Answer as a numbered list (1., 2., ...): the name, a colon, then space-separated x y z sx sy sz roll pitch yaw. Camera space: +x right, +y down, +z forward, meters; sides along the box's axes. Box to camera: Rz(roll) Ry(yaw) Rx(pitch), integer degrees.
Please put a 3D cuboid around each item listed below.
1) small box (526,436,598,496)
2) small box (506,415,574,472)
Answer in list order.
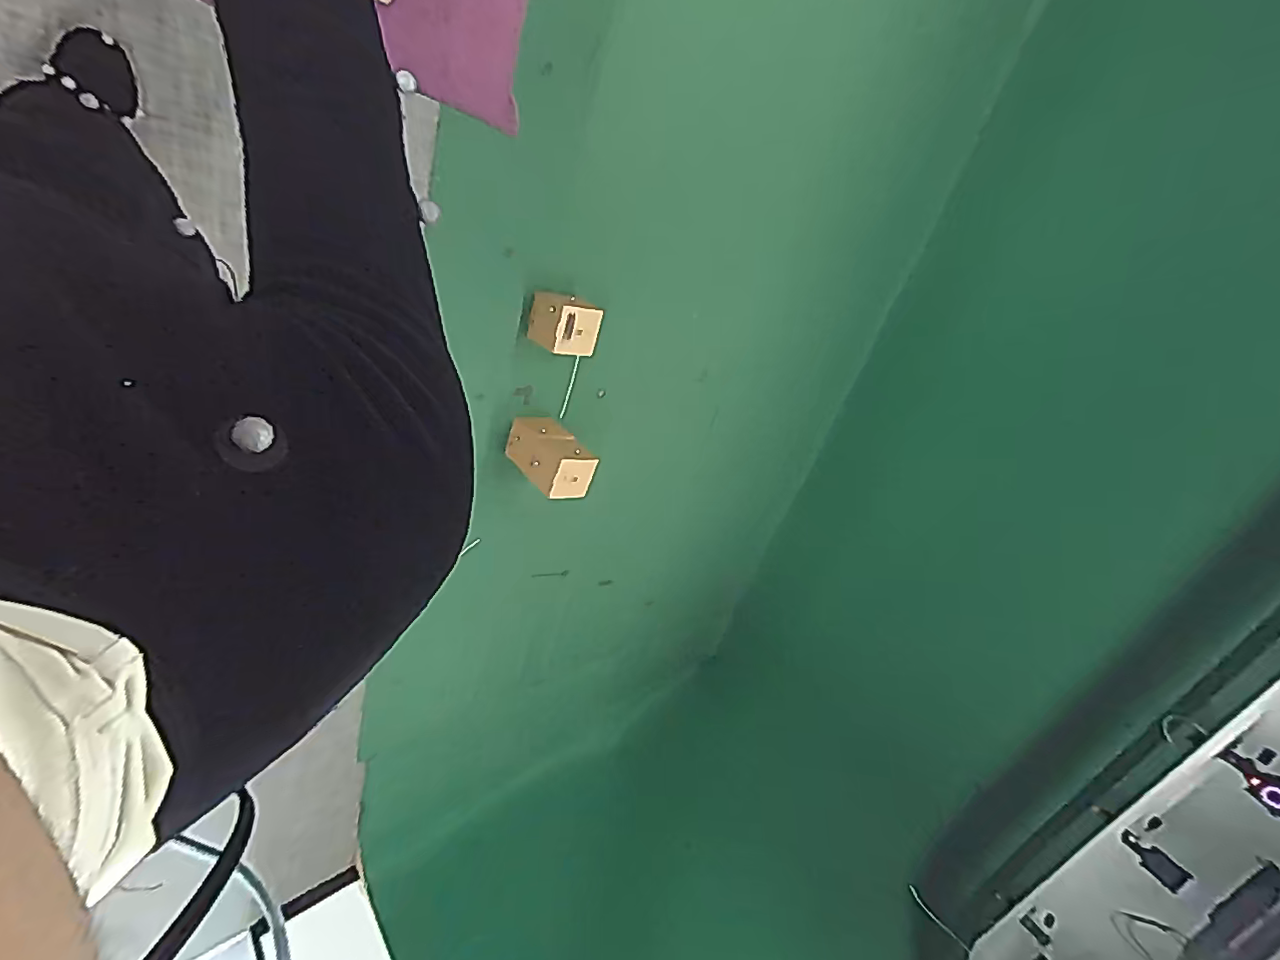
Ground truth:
1. small box: -0.293 -0.055 2.014 0.179 0.176 0.168 -1 122 -47
2. small box: -0.393 -0.144 2.109 0.179 0.176 0.168 -4 124 -46
